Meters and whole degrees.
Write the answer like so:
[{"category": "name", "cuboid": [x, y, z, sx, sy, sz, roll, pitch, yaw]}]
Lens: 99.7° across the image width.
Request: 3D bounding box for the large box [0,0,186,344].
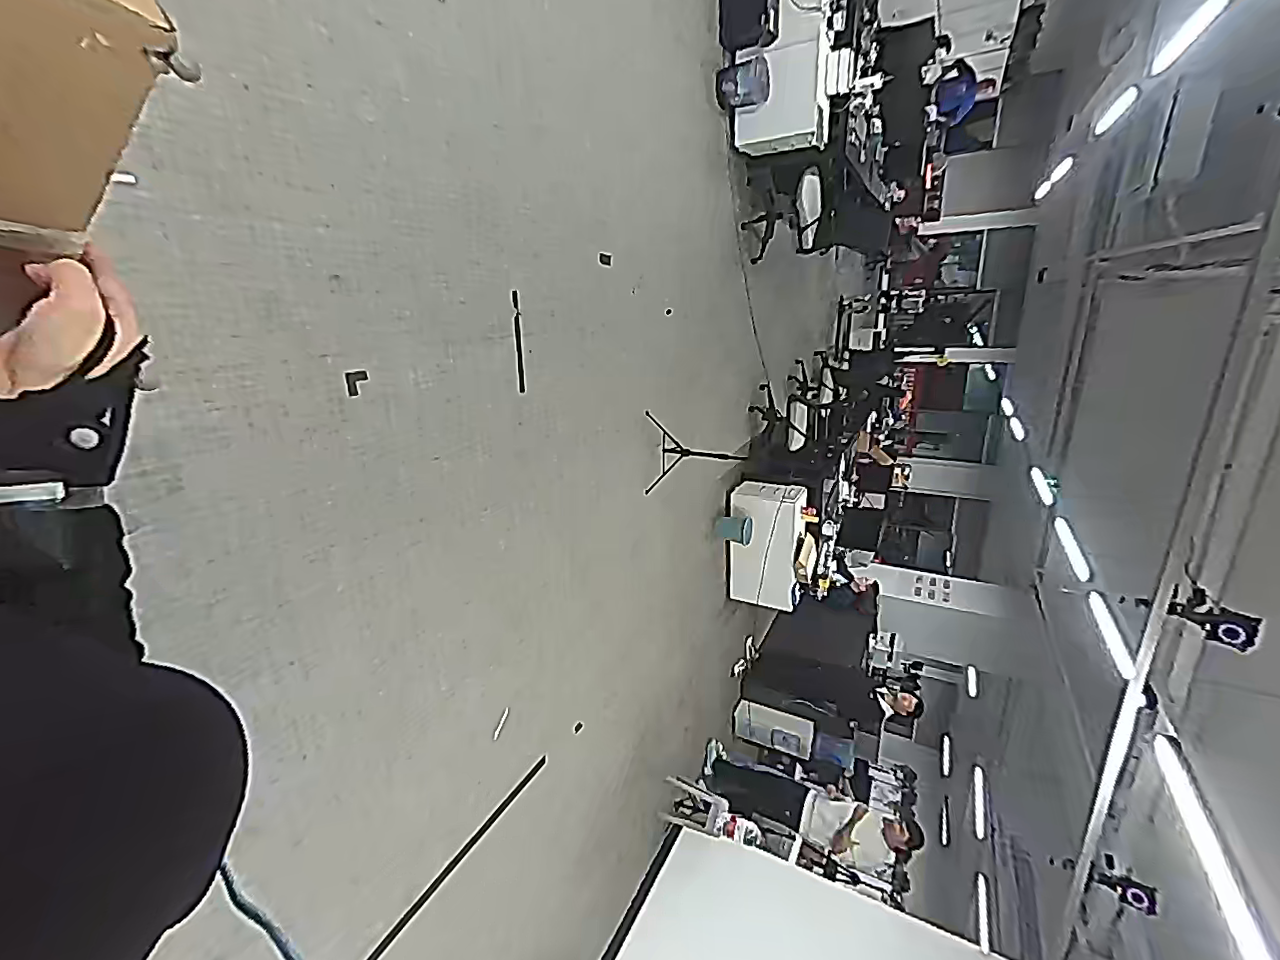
[{"category": "large box", "cuboid": [-0.489, -0.266, 0.163, 0.320, 0.320, 0.408, 61, 26, 3]}]
